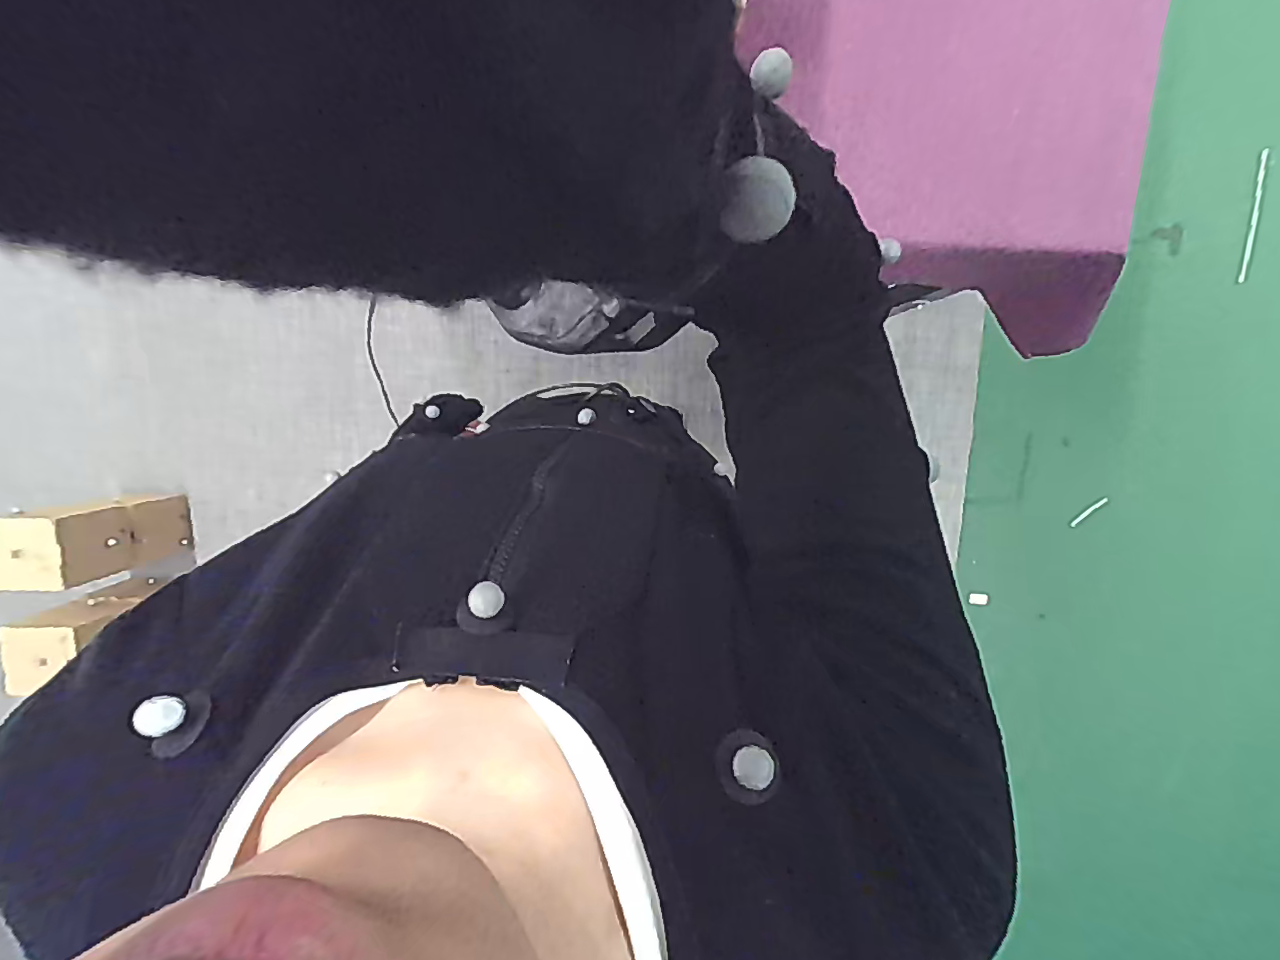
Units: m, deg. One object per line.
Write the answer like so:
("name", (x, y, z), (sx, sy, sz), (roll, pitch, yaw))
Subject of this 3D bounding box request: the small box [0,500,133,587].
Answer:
("small box", (-1.352, 0.143, 1.261), (0.179, 0.176, 0.168), (1, 99, 1))

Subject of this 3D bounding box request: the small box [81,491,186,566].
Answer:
("small box", (-1.343, 0.122, 1.424), (0.179, 0.176, 0.168), (0, 98, 1))
